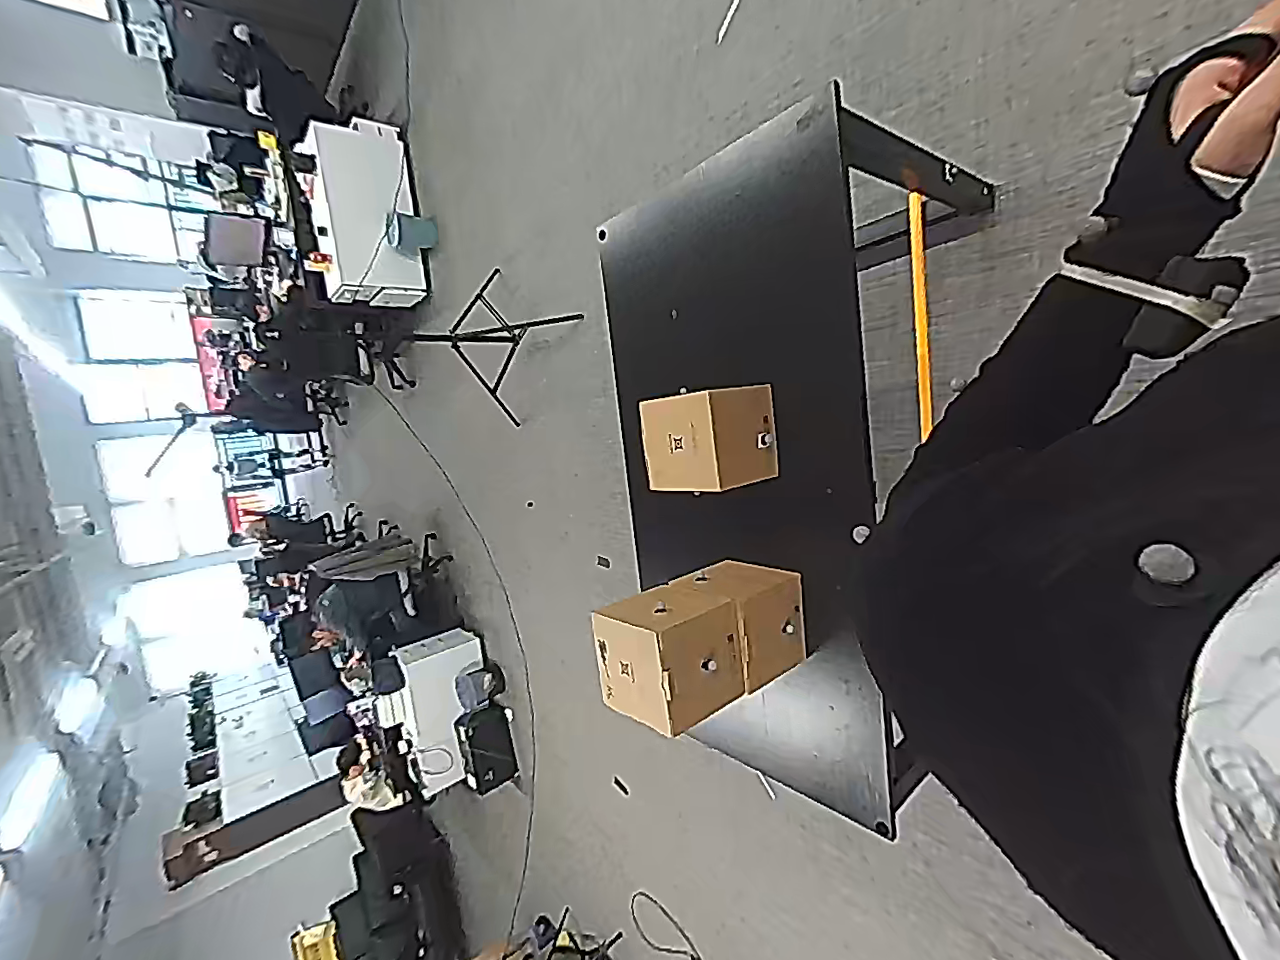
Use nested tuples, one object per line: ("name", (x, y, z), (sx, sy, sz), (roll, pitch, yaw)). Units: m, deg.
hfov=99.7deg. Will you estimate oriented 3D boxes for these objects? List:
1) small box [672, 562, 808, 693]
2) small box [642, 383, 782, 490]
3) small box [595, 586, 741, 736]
("small box", (0.183, 0.256, 0.991), (0.179, 0.176, 0.168), (3, 102, 50))
("small box", (0.130, -0.078, 0.975), (0.179, 0.176, 0.168), (-1, 100, 50))
("small box", (0.052, 0.284, 0.897), (0.179, 0.176, 0.168), (-2, 98, 51))
